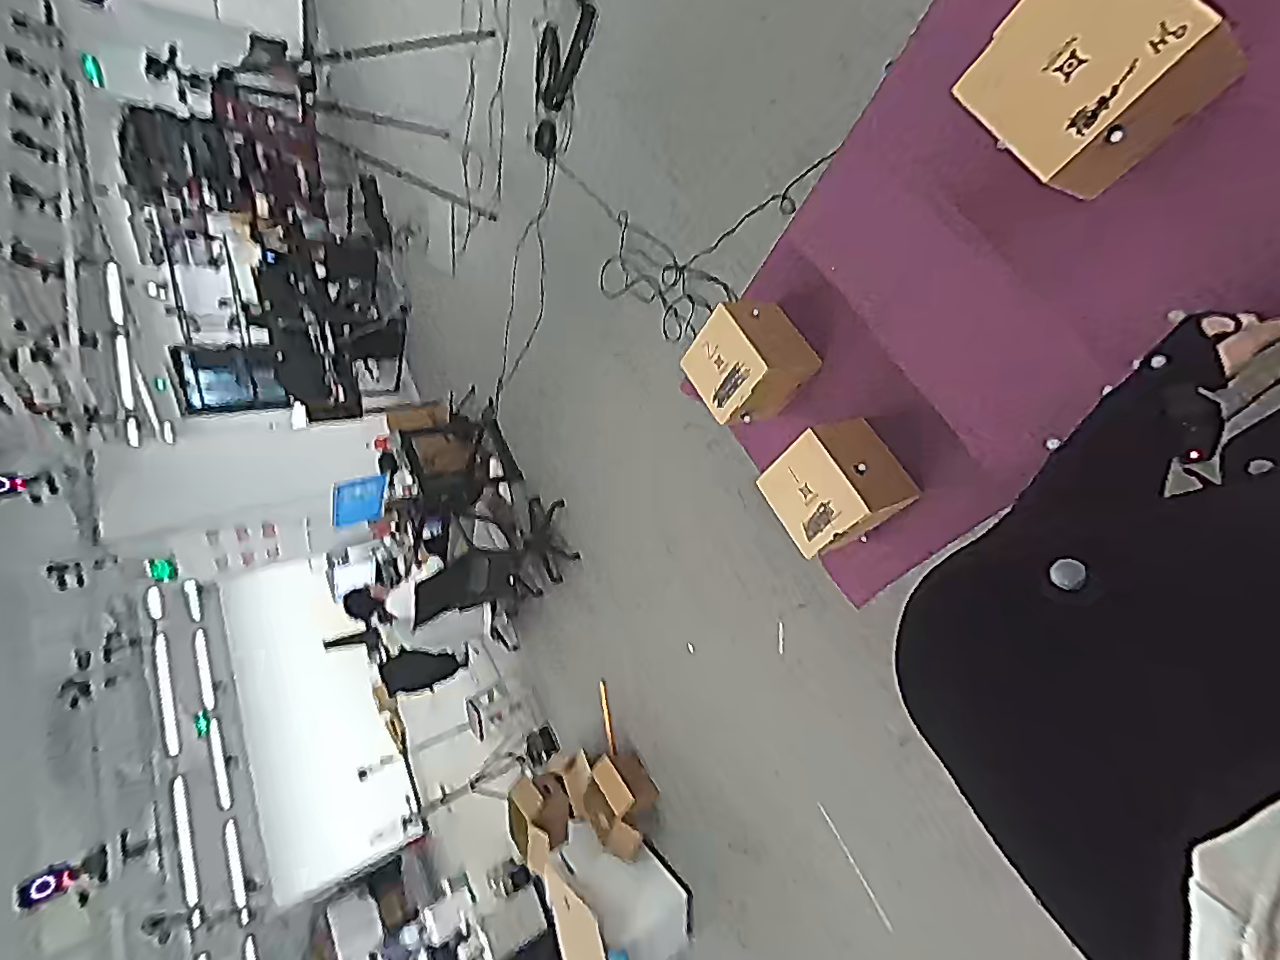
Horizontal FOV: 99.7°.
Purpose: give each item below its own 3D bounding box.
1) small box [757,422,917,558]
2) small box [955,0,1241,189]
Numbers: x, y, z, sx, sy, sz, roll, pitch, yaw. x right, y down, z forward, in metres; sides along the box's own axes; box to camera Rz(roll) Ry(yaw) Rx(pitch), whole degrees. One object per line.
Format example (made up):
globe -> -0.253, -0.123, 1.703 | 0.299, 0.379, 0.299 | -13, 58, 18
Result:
small box -> 0.355, 0.012, 0.977 | 0.179, 0.176, 0.168 | 61, 140, 23
small box -> 0.518, -0.465, 0.622 | 0.168, 0.176, 0.179 | -50, 60, 48
